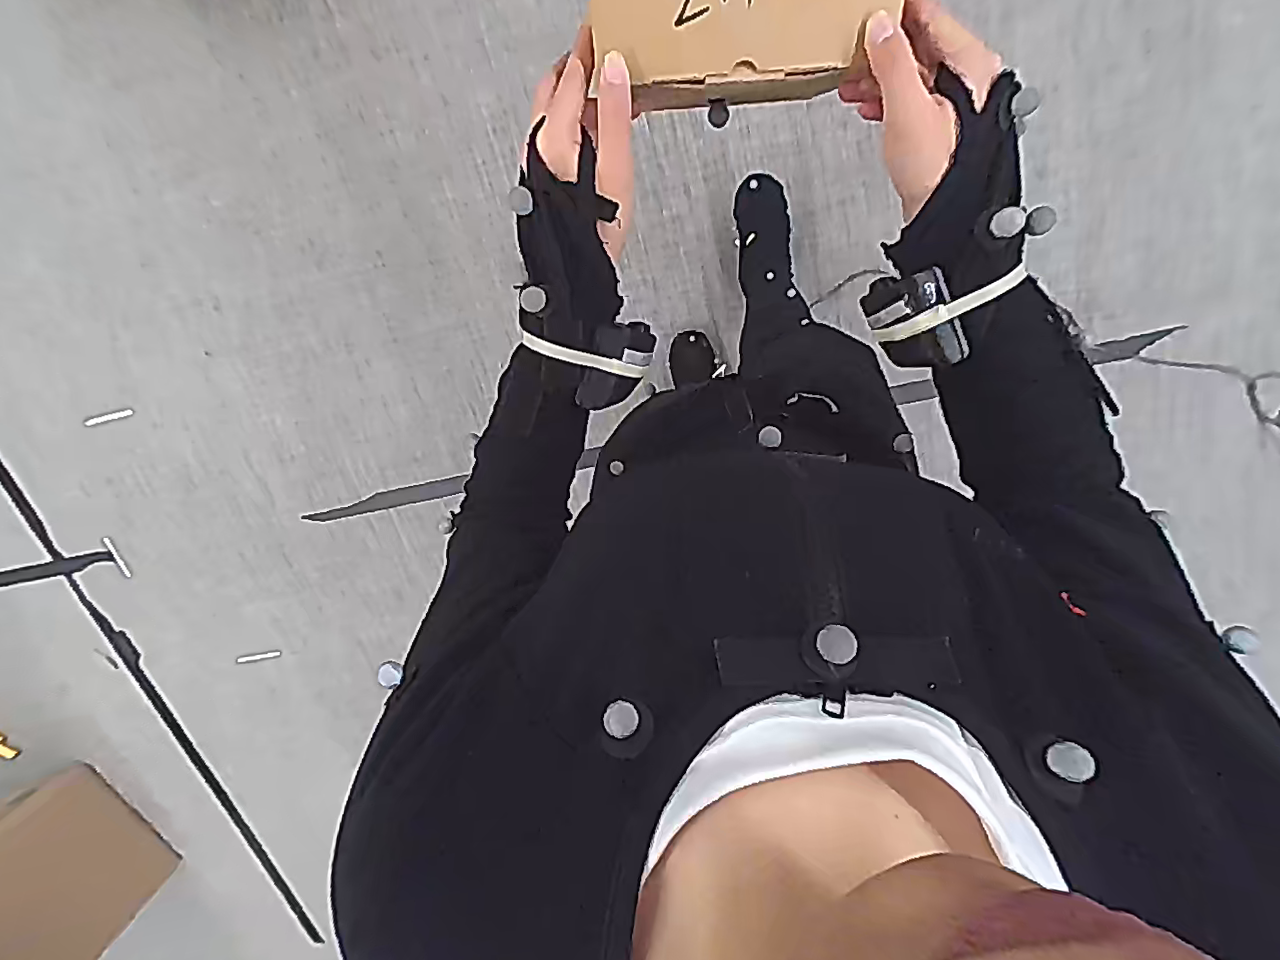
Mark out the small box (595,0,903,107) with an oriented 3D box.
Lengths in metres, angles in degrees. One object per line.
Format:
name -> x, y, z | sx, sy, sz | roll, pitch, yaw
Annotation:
small box -> 0.054, -0.344, 0.326 | 0.168, 0.176, 0.179 | -3, 120, 2
